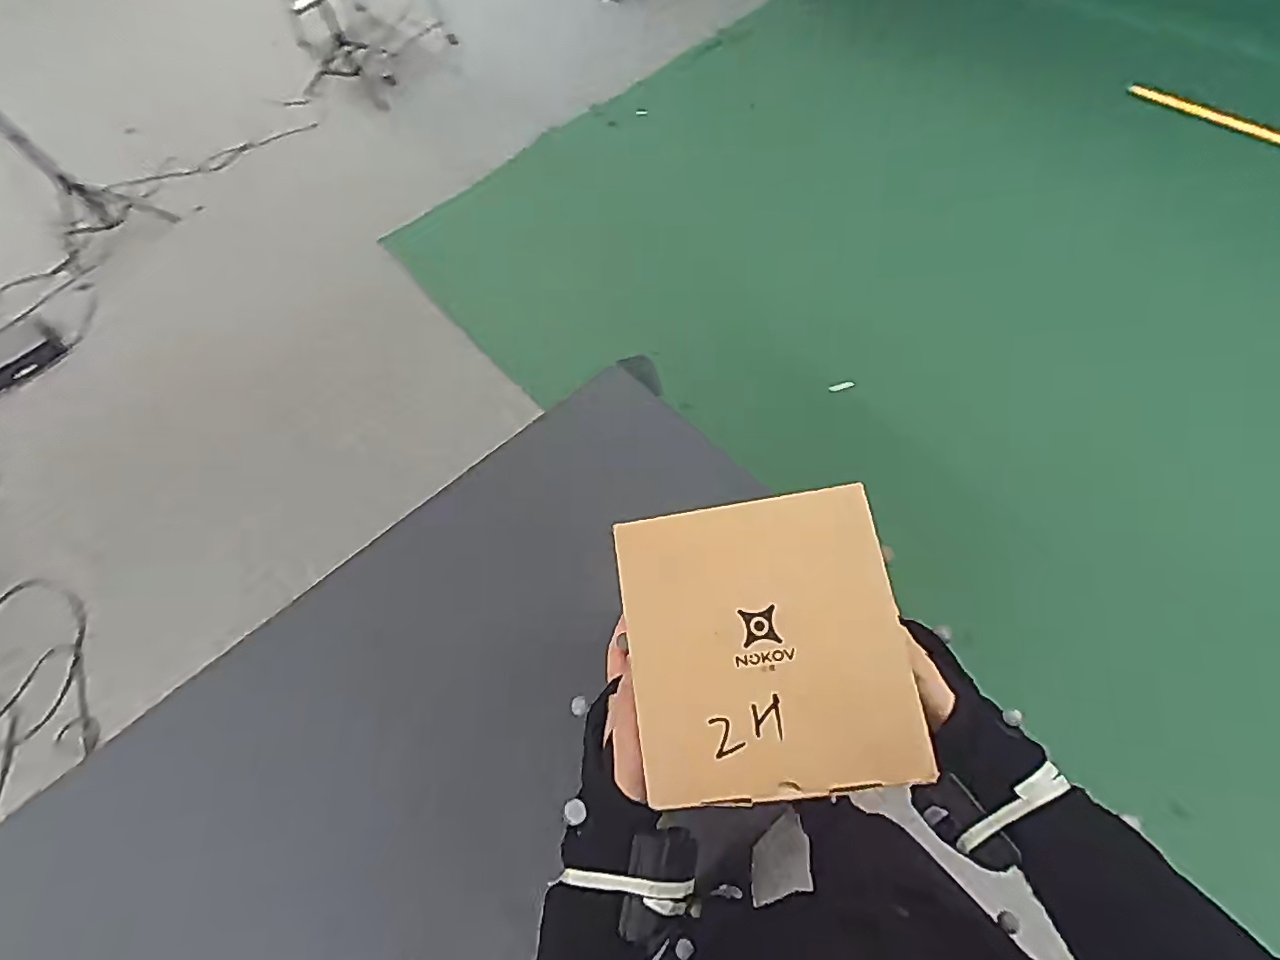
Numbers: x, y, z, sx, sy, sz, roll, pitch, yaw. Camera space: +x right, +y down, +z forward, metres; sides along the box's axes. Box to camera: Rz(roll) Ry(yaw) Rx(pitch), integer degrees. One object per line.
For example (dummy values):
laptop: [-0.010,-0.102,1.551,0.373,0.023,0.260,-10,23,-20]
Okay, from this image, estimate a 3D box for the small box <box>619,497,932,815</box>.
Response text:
small box: [0.088,0.126,0.410,0.168,0.176,0.179,-10,74,9]
